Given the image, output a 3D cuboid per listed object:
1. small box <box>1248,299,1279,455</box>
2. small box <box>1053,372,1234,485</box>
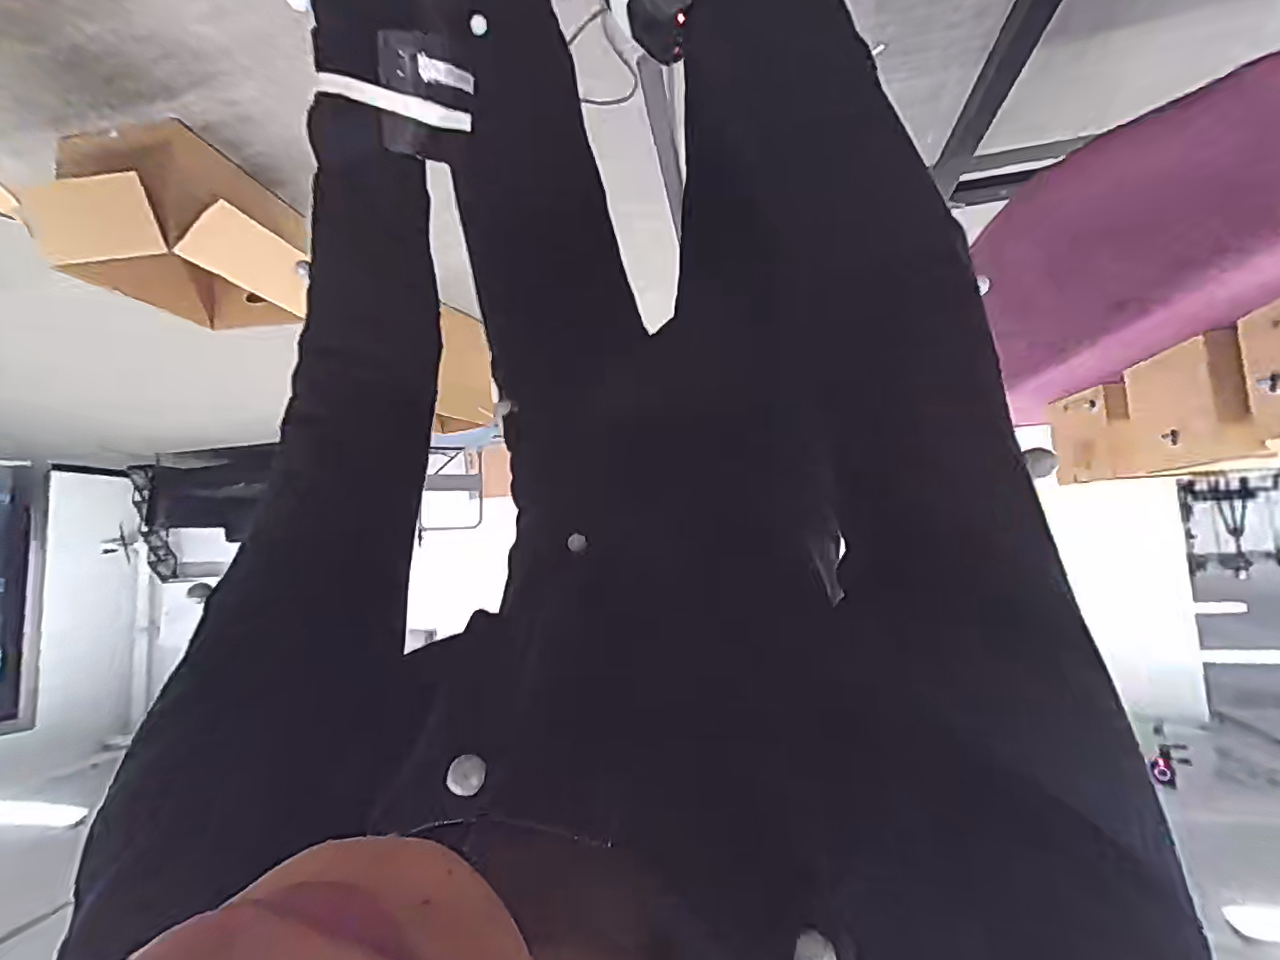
[{"bbox_3d":[0.760,-0.123,0.524,0.179,0.176,0.168,-5,175,20],"label":"small box"},{"bbox_3d":[0.891,-0.087,0.977,0.179,0.176,0.168,-4,175,9],"label":"small box"}]
